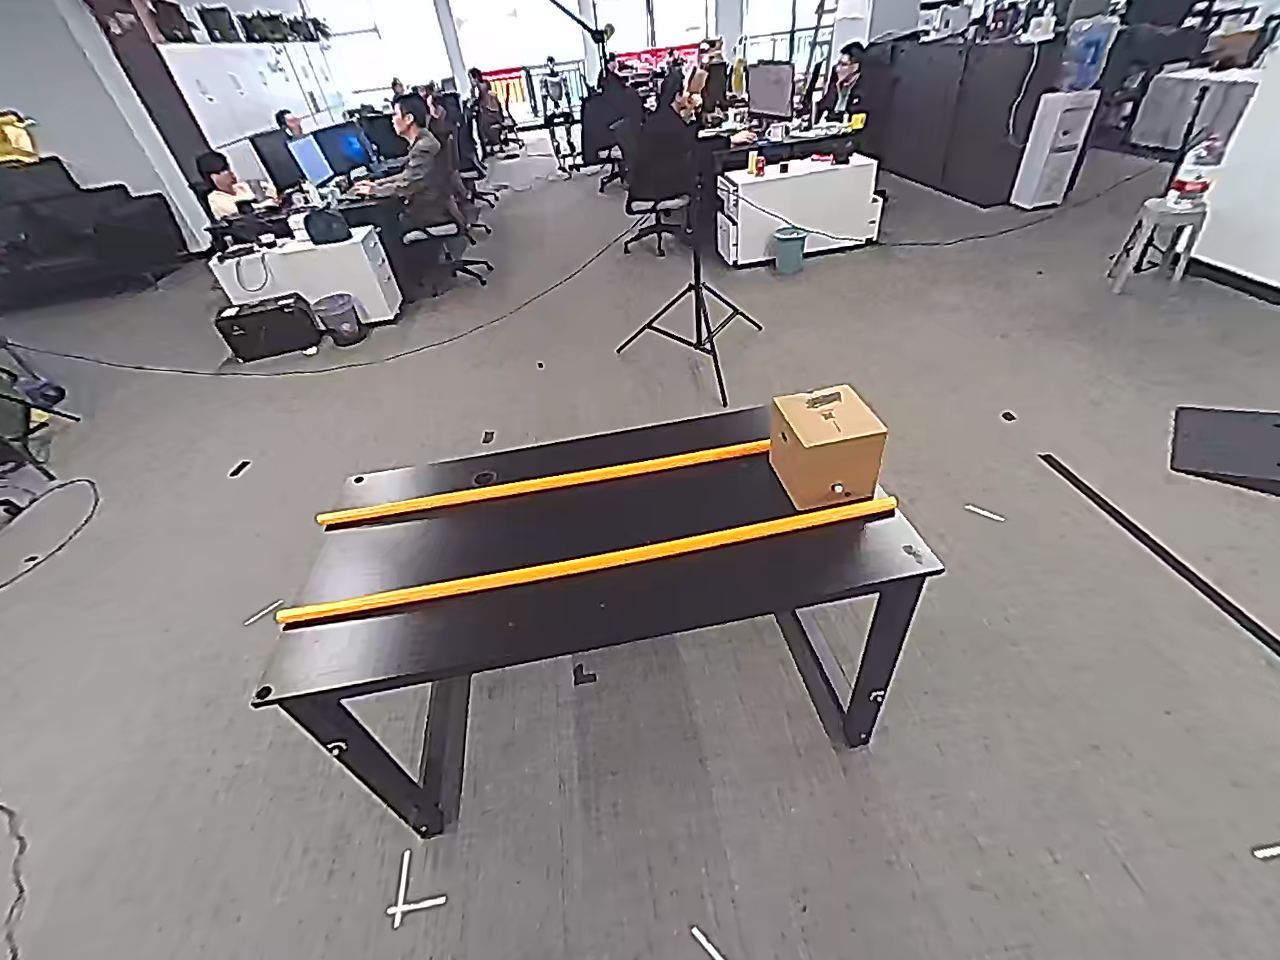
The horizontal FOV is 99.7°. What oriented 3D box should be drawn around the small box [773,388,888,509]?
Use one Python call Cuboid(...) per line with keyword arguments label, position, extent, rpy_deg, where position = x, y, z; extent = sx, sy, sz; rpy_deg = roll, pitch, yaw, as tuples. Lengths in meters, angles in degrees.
Cuboid(label="small box", position=(0.383, -0.065, 1.124), extent=(0.168, 0.176, 0.179), rpy_deg=(-11, 40, -2))
